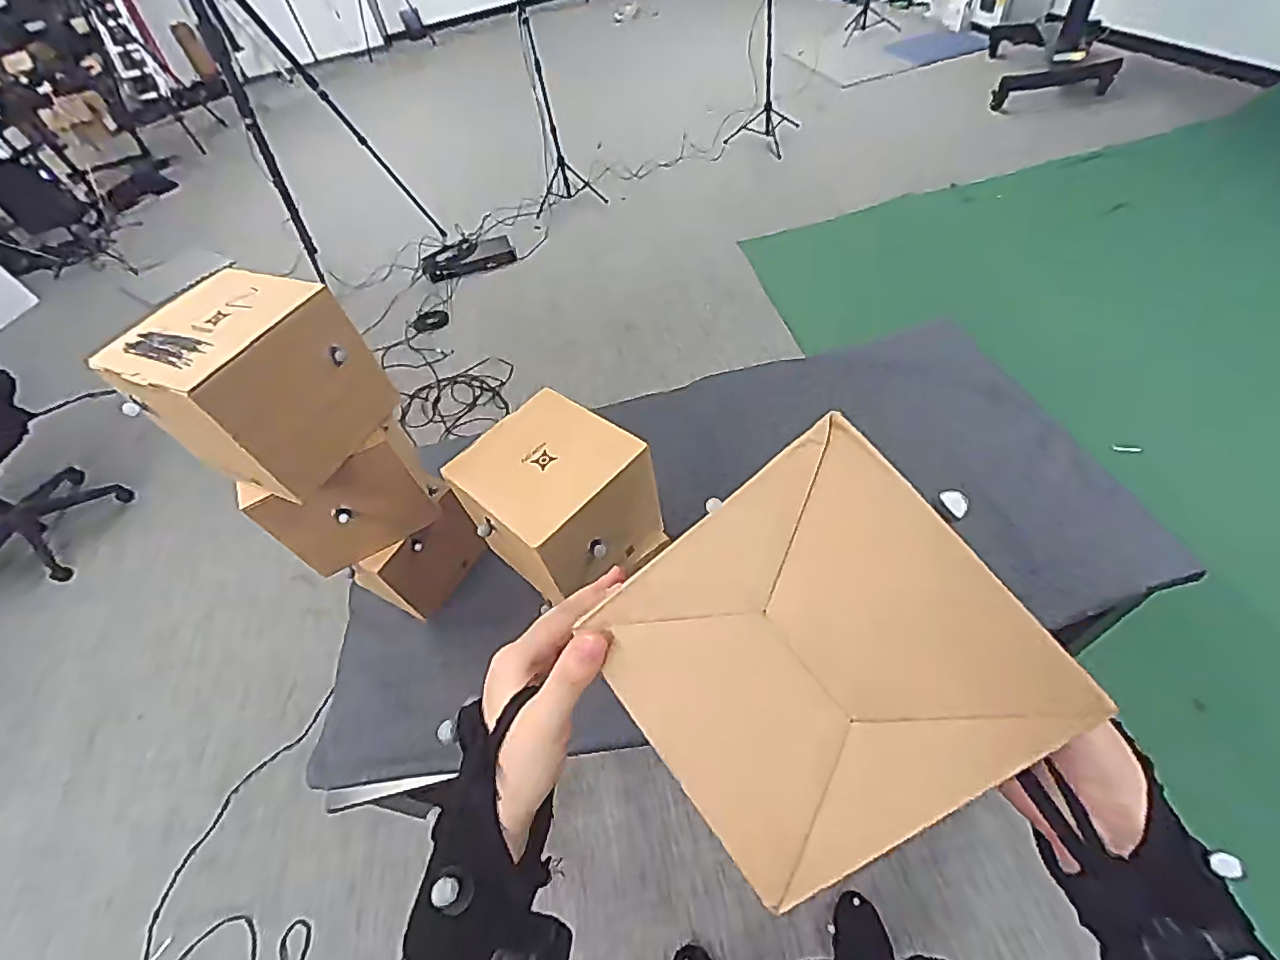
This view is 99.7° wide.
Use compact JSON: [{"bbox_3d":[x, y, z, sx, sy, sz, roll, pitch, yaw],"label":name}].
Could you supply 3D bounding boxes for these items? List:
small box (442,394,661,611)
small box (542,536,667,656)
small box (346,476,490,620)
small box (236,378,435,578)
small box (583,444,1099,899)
[{"bbox_3d":[-0.094,0.033,0.651,0.179,0.176,0.168,31,63,32],"label":"small box"},{"bbox_3d":[-0.064,0.128,0.780,0.168,0.176,0.179,-34,52,-17],"label":"small box"},{"bbox_3d":[-0.379,0.099,0.869,0.179,0.176,0.168,18,57,24],"label":"small box"},{"bbox_3d":[-0.404,0.000,0.739,0.179,0.176,0.168,-29,53,-12],"label":"small box"},{"bbox_3d":[0.096,0.090,0.319,0.179,0.176,0.168,-41,80,14],"label":"small box"}]
